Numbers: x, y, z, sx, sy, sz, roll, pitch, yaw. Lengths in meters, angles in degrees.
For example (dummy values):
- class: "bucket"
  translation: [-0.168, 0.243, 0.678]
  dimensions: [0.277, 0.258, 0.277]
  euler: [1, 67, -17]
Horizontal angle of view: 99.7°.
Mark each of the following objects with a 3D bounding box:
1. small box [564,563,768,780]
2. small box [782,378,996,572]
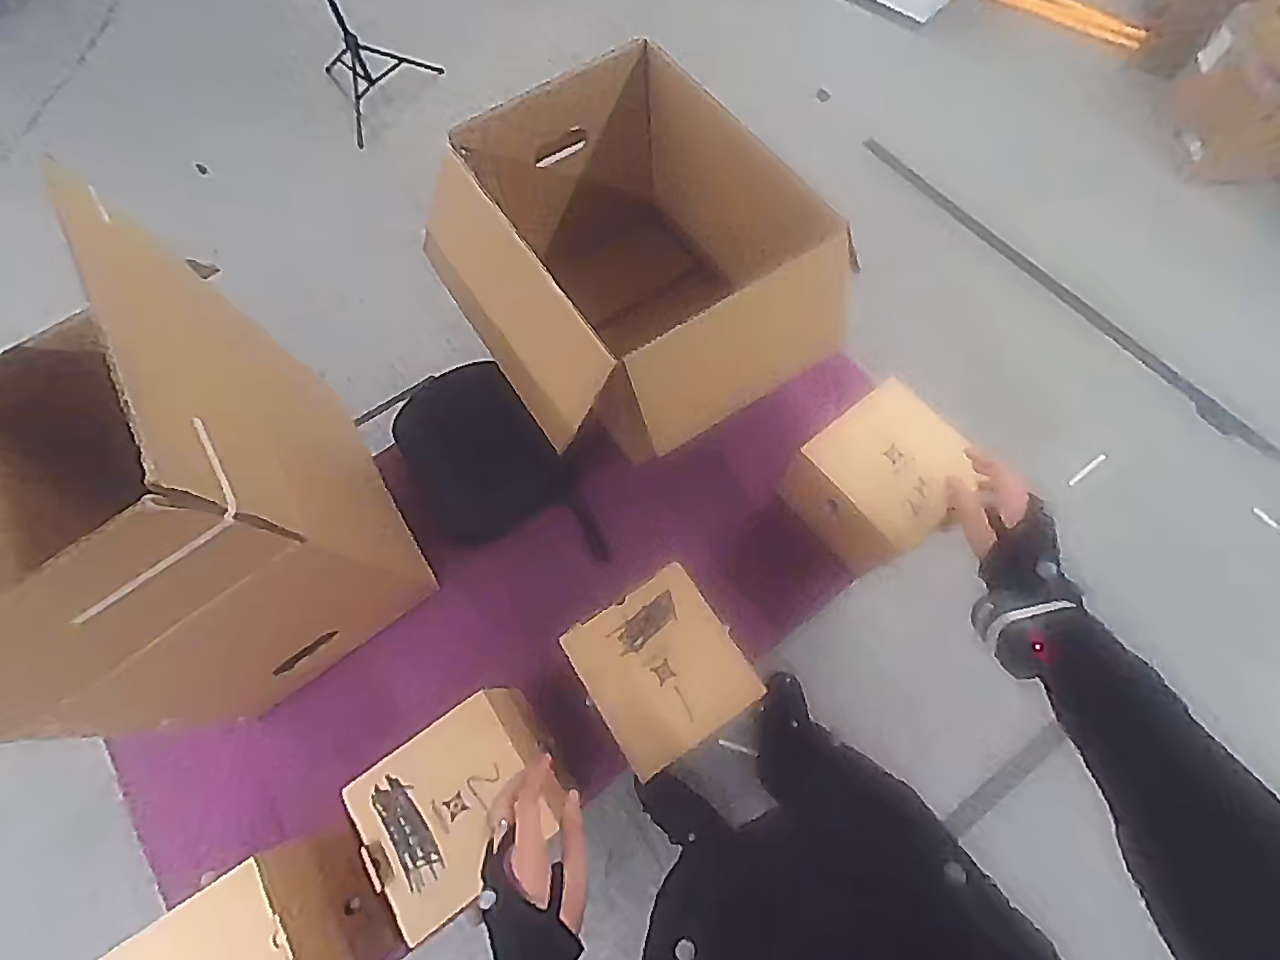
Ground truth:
- class: "small box"
  translation: [0.028, 0.232, 0.671]
  dimensions: [0.168, 0.176, 0.179]
  euler: [-32, 73, -8]
- class: "small box"
  translation: [0.318, 0.003, 0.736]
  dimensions: [0.168, 0.176, 0.179]
  euler: [-37, 72, -9]
